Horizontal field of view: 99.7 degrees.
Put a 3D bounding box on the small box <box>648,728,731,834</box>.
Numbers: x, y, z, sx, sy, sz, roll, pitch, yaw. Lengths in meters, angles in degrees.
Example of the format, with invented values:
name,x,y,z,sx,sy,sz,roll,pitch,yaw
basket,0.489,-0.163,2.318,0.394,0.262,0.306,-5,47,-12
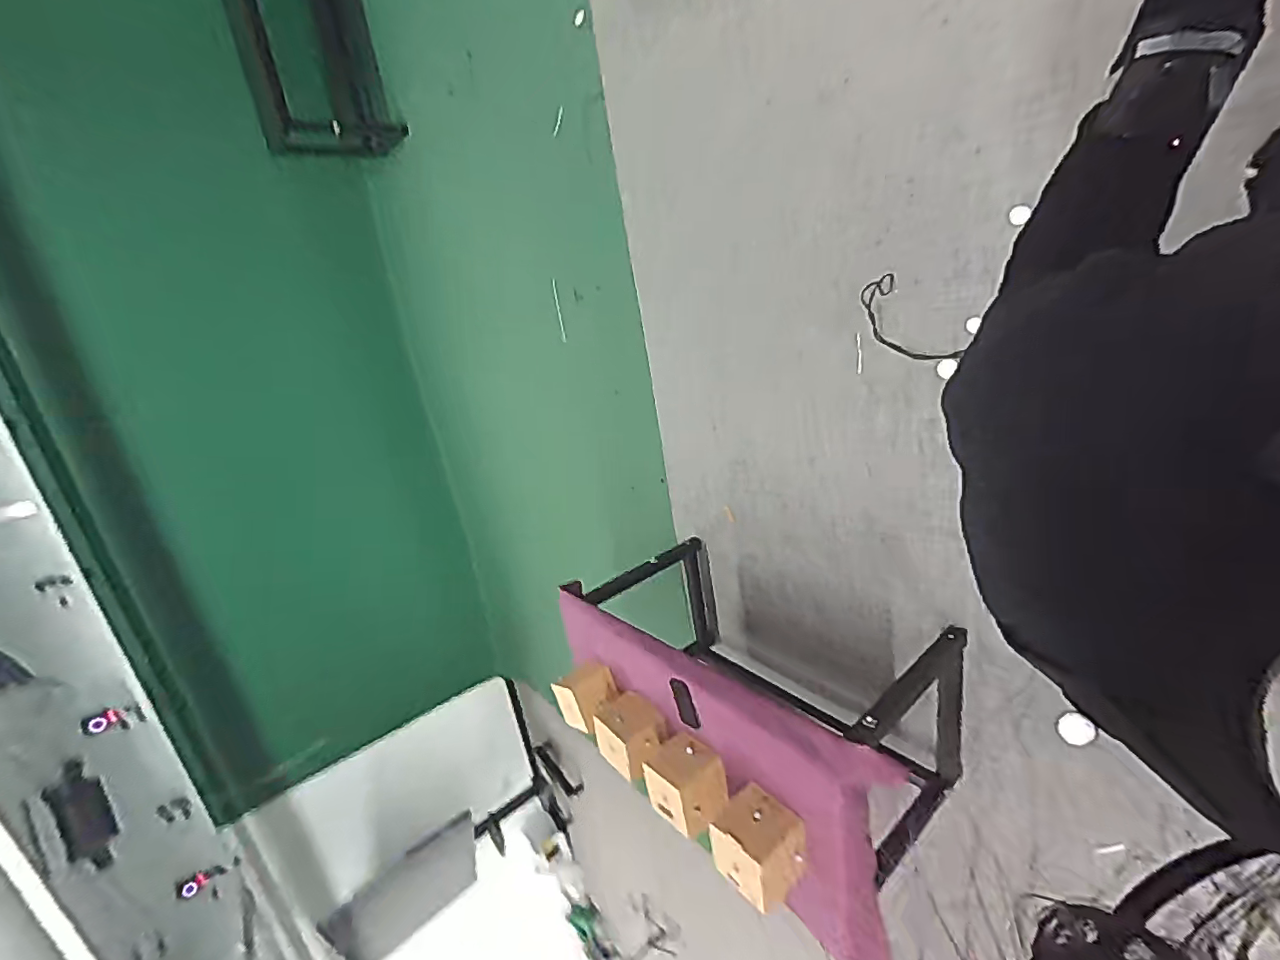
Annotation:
name,x,y,z,sx,sy,sz,roll,pitch,yaw
small box,0.151,0.874,1.587,0.168,0.176,0.179,8,114,52

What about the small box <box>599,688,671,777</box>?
name,x,y,z,sx,sy,sz,roll,pitch,yaw
small box,-0.010,0.822,1.784,0.179,0.176,0.168,19,123,49

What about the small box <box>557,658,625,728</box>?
name,x,y,z,sx,sy,sz,roll,pitch,yaw
small box,-0.171,0.772,1.980,0.179,0.176,0.168,-19,92,57

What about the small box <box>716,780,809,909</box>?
name,x,y,z,sx,sy,sz,roll,pitch,yaw
small box,0.316,0.917,1.380,0.168,0.176,0.179,16,120,50
